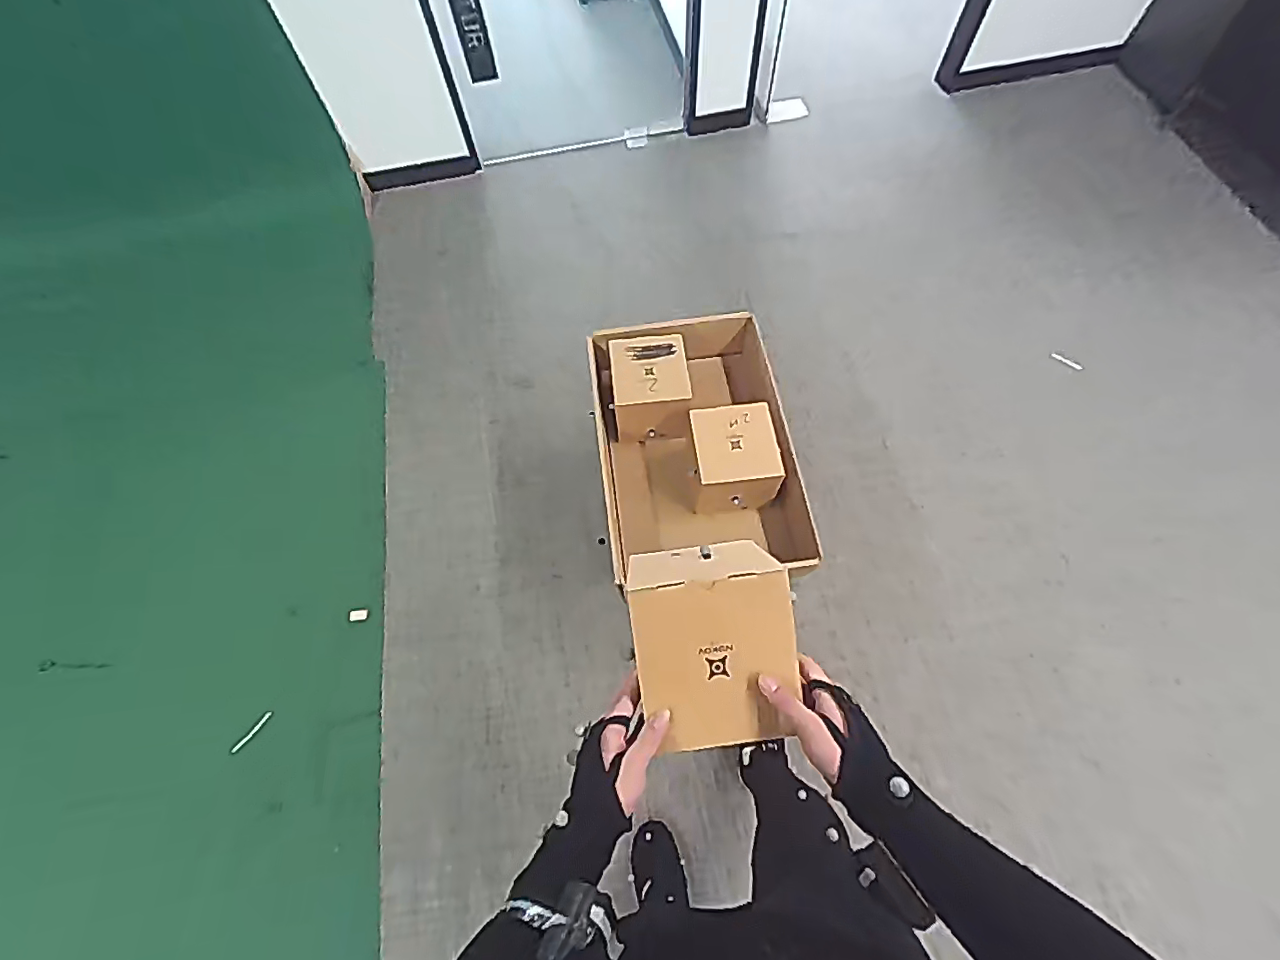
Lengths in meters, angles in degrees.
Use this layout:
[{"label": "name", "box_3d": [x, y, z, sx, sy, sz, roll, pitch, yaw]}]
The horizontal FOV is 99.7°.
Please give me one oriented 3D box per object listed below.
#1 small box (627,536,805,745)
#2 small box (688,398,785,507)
[{"label": "small box", "box_3d": [0.079, 0.171, 0.626, 0.168, 0.176, 0.179, -8, 93, 0]}, {"label": "small box", "box_3d": [0.196, -0.050, 1.145, 0.168, 0.176, 0.179, -5, 66, -2]}]
